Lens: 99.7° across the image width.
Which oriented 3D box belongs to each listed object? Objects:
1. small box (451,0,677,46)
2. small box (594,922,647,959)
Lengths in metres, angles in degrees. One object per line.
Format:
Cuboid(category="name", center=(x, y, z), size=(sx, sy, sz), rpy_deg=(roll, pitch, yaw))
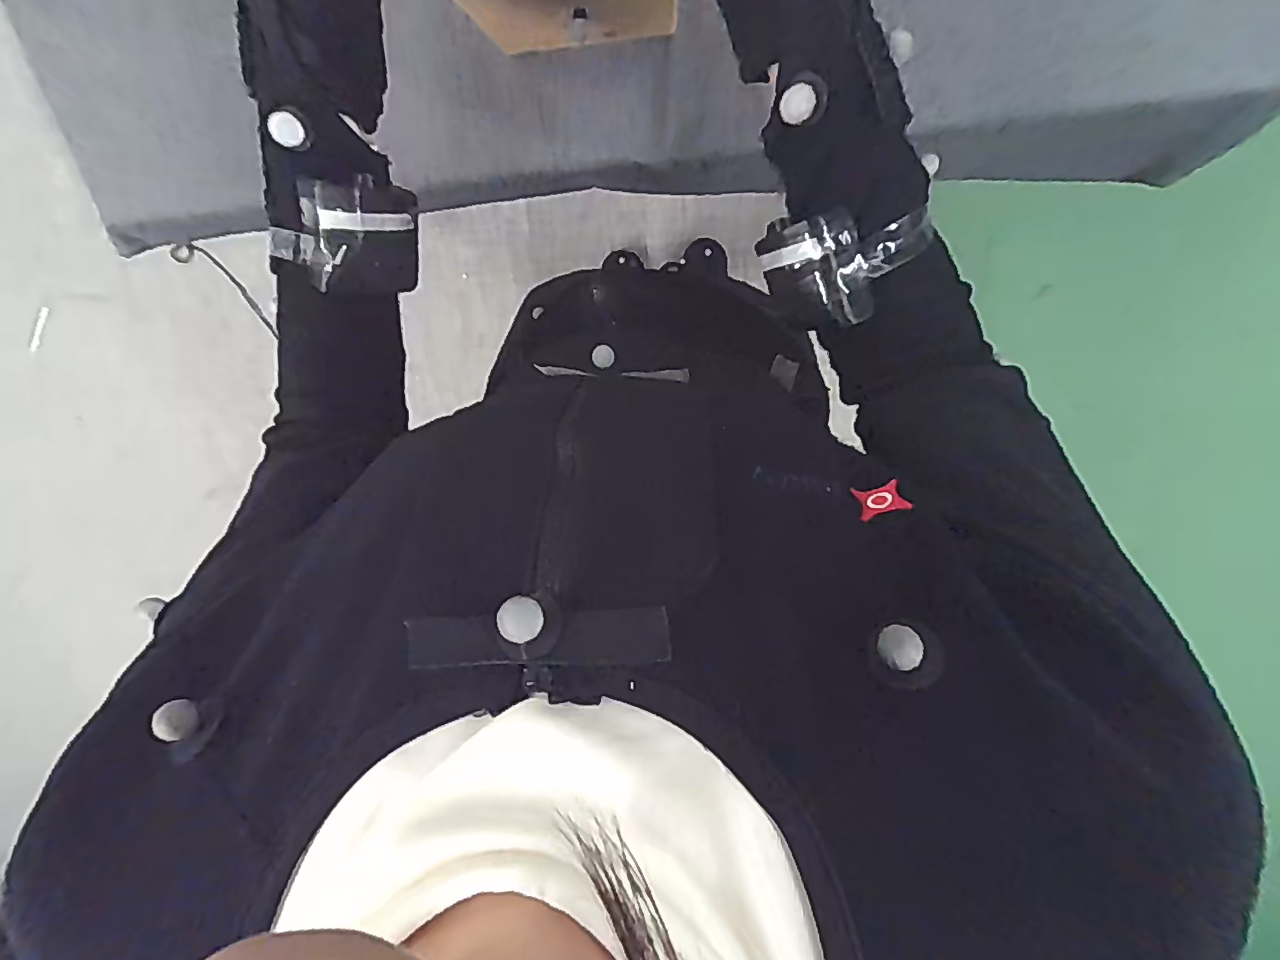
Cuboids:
Cuboid(category="small box", center=(-0.059, -0.456, 0.405), size=(0.168, 0.176, 0.179), rpy_deg=(-3, 115, 5))
Cuboid(category="small box", center=(-0.067, 1.708, 1.916), size=(0.179, 0.176, 0.168), rpy_deg=(-2, 114, 6))
